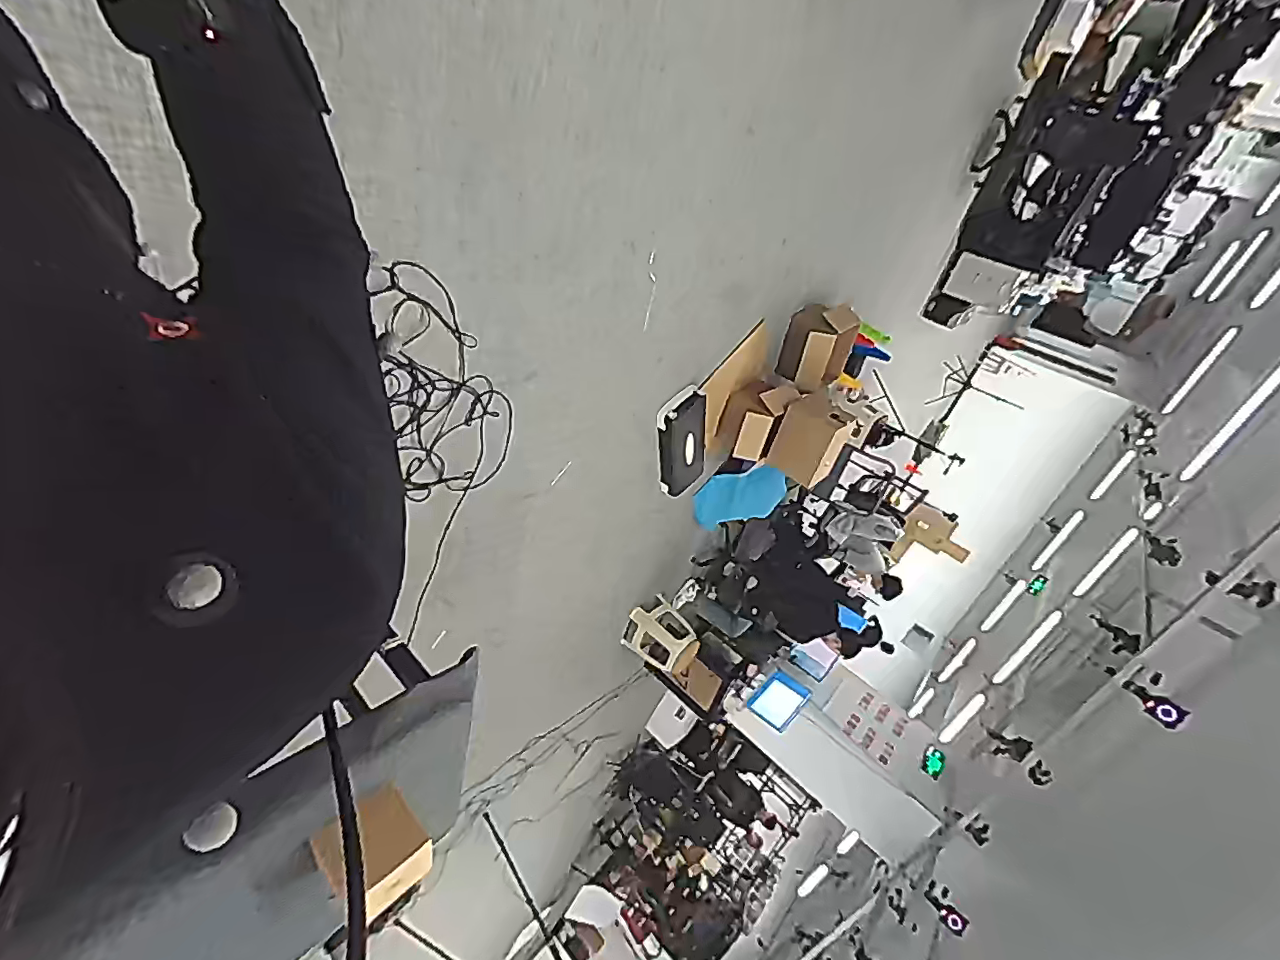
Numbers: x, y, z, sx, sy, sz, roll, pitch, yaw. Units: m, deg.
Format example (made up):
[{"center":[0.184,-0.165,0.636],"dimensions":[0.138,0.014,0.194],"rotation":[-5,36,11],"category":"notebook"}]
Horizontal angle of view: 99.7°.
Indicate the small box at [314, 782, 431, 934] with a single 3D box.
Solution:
[{"center":[-0.572,0.801,1.158],"dimensions":[0.179,0.176,0.168],"rotation":[-27,143,-44],"category":"small box"}]
